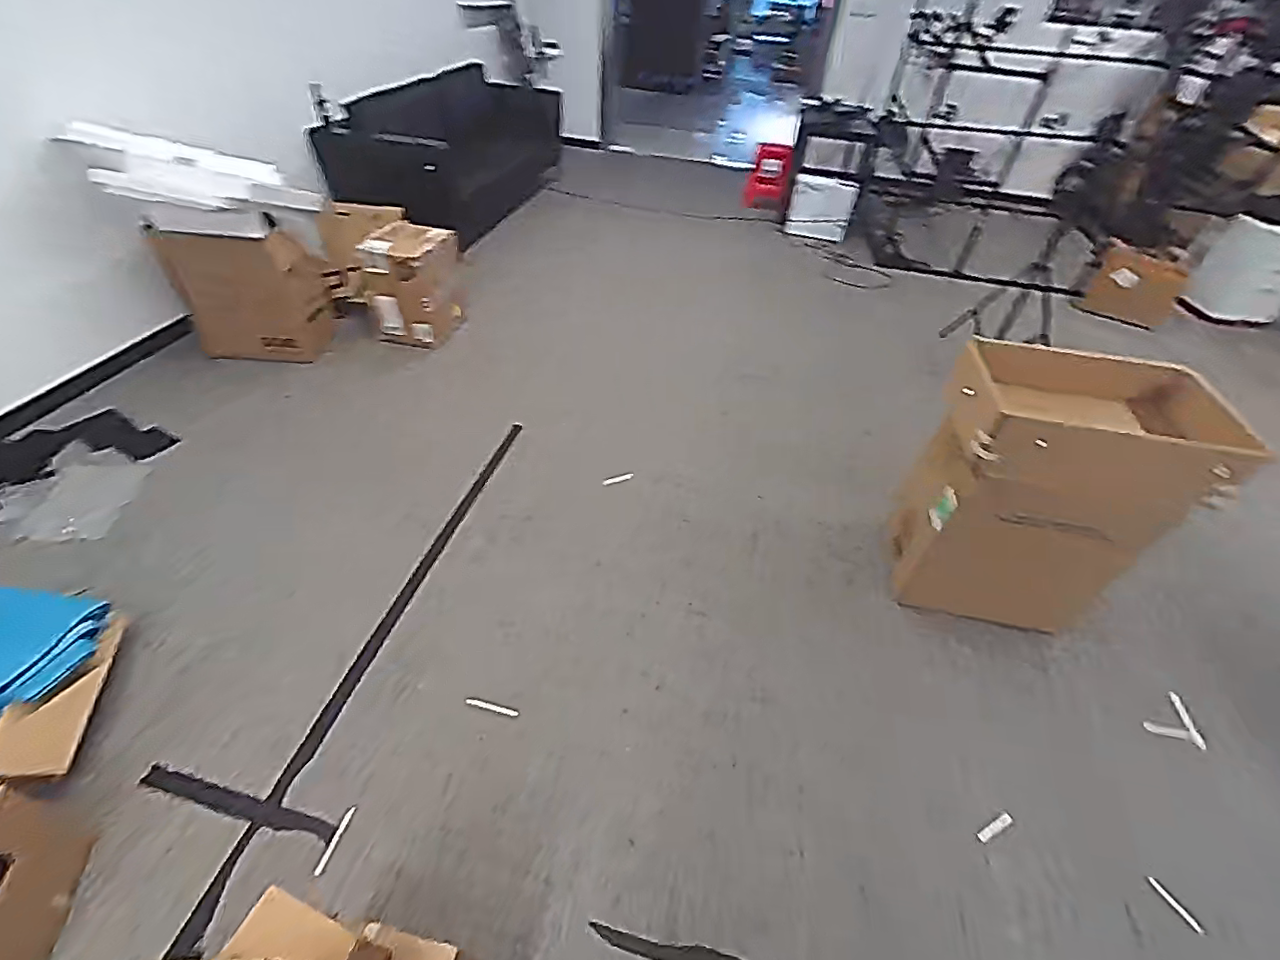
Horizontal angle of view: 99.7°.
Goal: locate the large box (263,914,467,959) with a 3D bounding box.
[{"bbox_3d":[-0.504,1.022,0.890,0.320,0.320,0.408,9,42,3],"label":"large box"}]
